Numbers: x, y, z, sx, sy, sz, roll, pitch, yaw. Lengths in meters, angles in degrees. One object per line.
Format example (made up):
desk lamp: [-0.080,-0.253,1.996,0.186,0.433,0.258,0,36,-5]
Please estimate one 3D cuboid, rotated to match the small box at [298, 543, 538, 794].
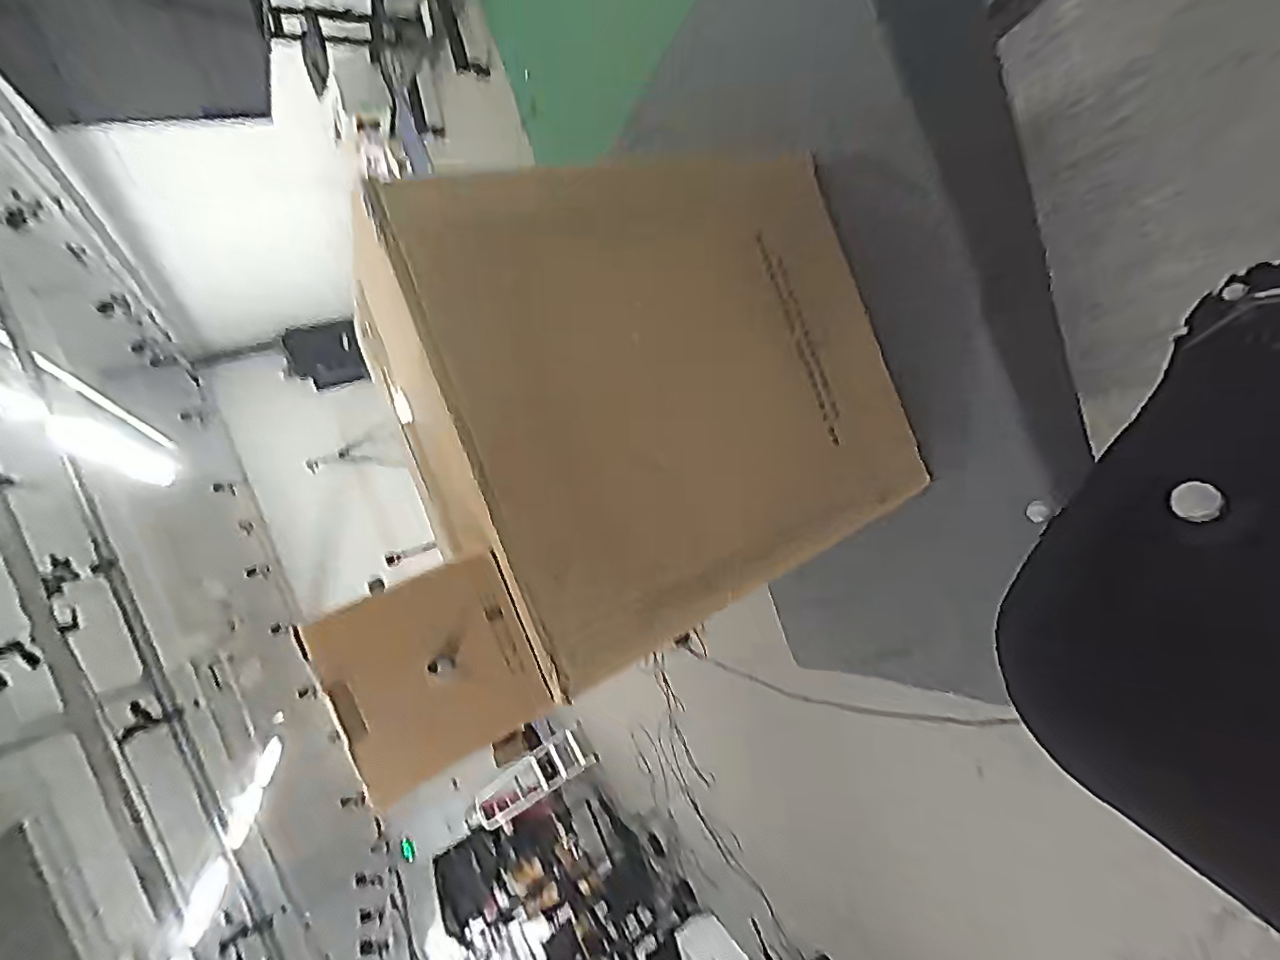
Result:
small box: [-0.223,0.173,0.554,0.179,0.176,0.168,-21,90,59]
